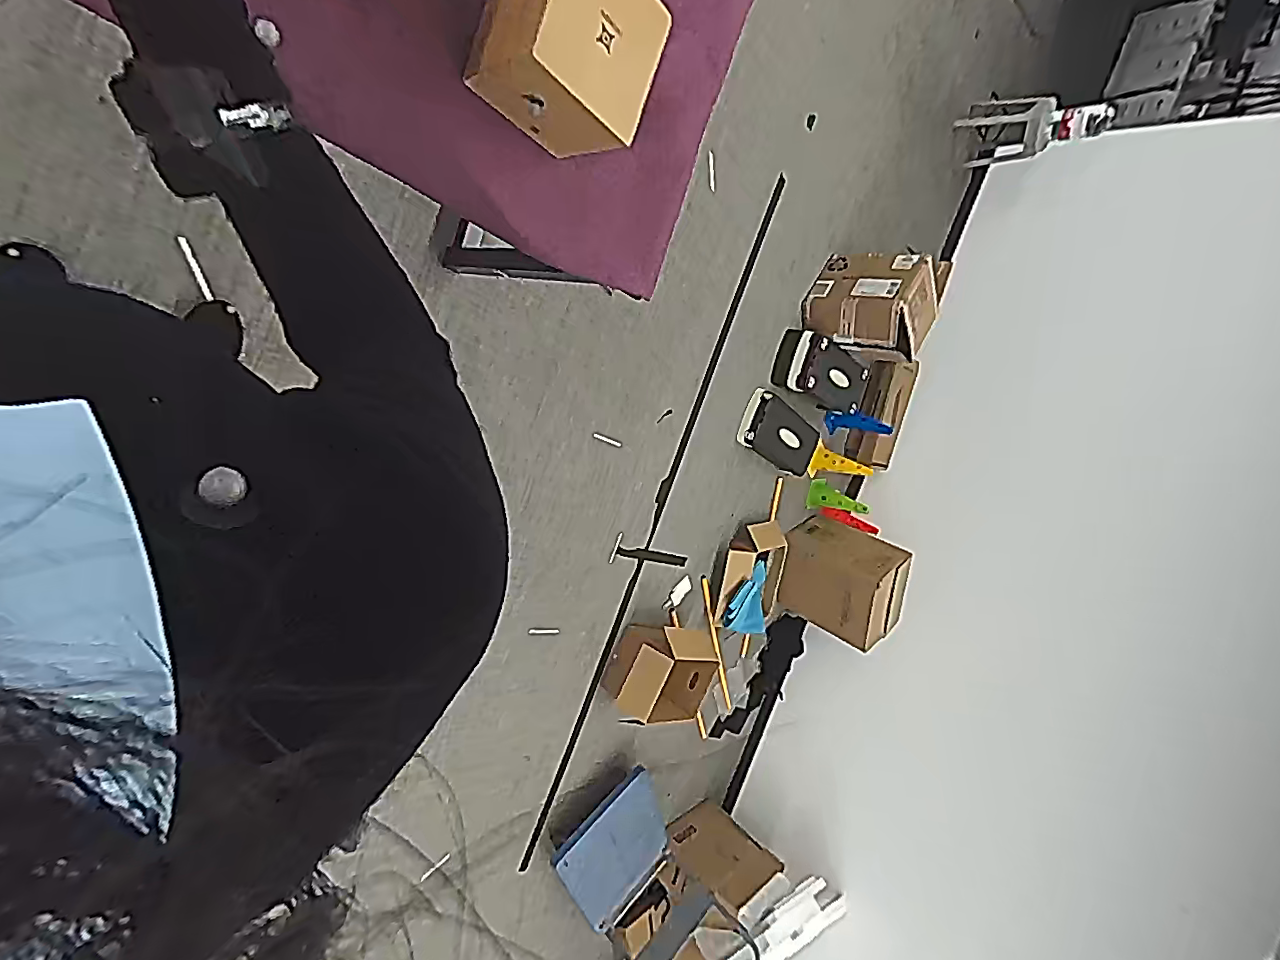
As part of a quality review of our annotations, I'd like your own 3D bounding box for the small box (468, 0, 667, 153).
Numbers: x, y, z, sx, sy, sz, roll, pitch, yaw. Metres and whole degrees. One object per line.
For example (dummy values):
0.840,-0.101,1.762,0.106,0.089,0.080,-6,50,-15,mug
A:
-0.100,-0.560,0.705,0.168,0.176,0.179,15,96,-49,small box
